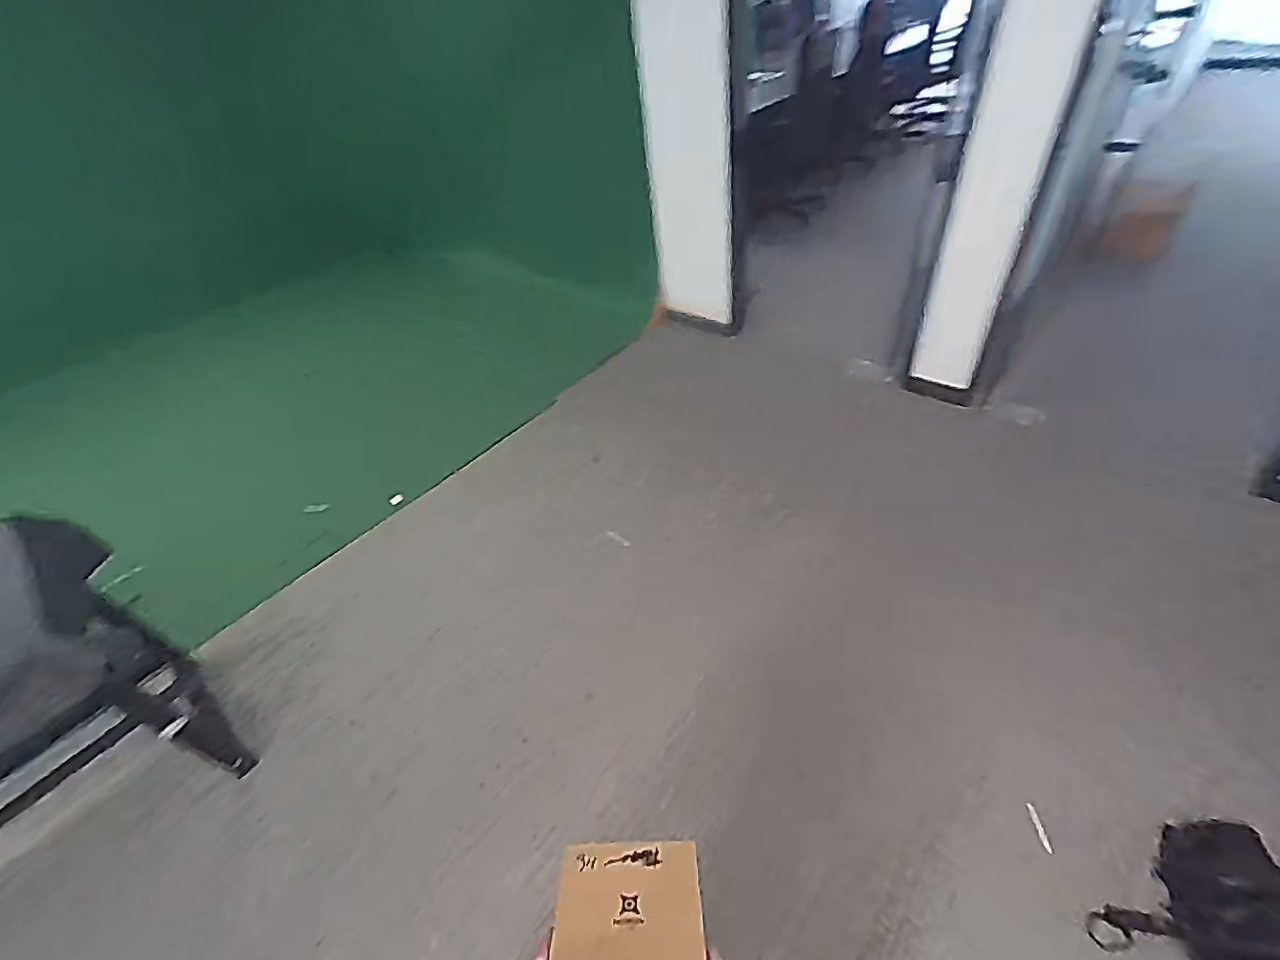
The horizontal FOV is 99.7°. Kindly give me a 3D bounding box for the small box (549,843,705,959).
[{"bbox_3d":[-0.008,0.561,0.618,0.168,0.176,0.179,-3,15,0],"label":"small box"}]
